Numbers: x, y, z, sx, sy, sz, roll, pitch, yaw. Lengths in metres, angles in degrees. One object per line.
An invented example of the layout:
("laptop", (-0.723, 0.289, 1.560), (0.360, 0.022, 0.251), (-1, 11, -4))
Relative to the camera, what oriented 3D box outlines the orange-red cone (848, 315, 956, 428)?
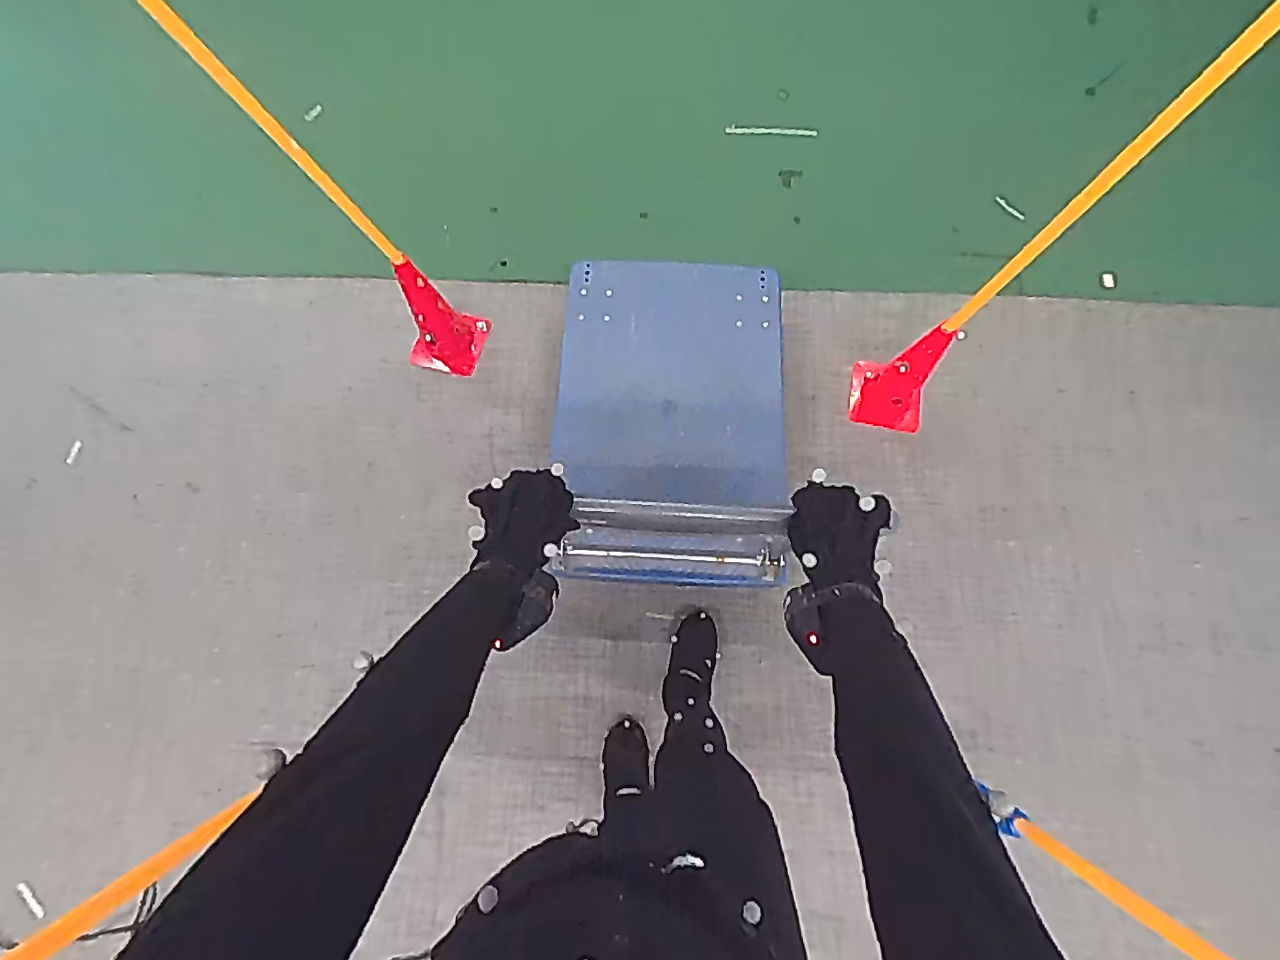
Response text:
("orange-red cone", (0.699, -0.301, 1.380), (0.198, 0.360, 0.199), (13, 74, 6))
